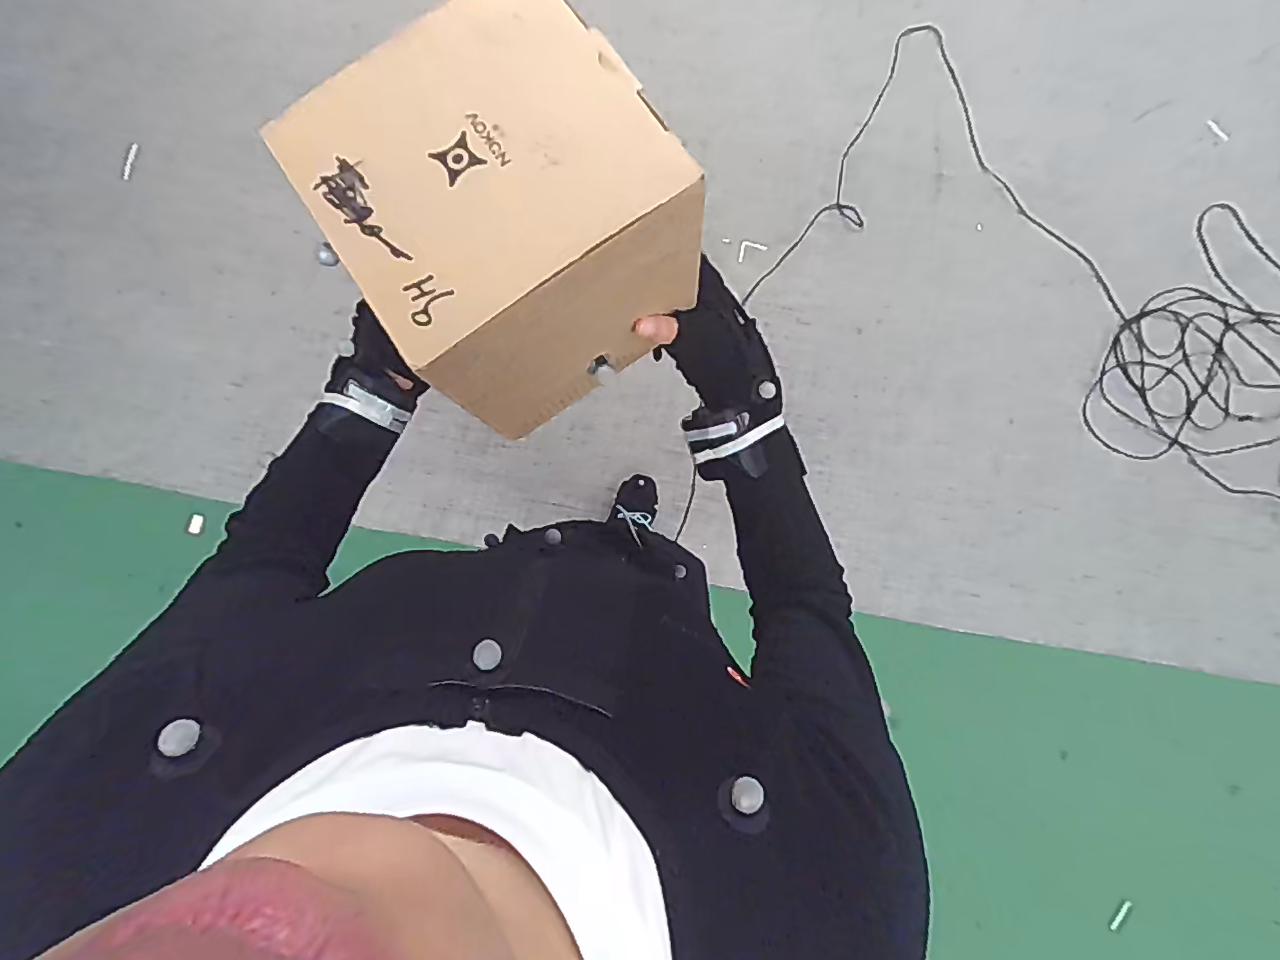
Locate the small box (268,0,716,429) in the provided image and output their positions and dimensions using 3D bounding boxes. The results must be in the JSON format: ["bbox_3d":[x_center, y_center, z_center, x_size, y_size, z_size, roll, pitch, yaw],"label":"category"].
[{"bbox_3d":[-0.074,-0.157,0.350,0.179,0.176,0.168,-35,82,-2],"label":"small box"}]
